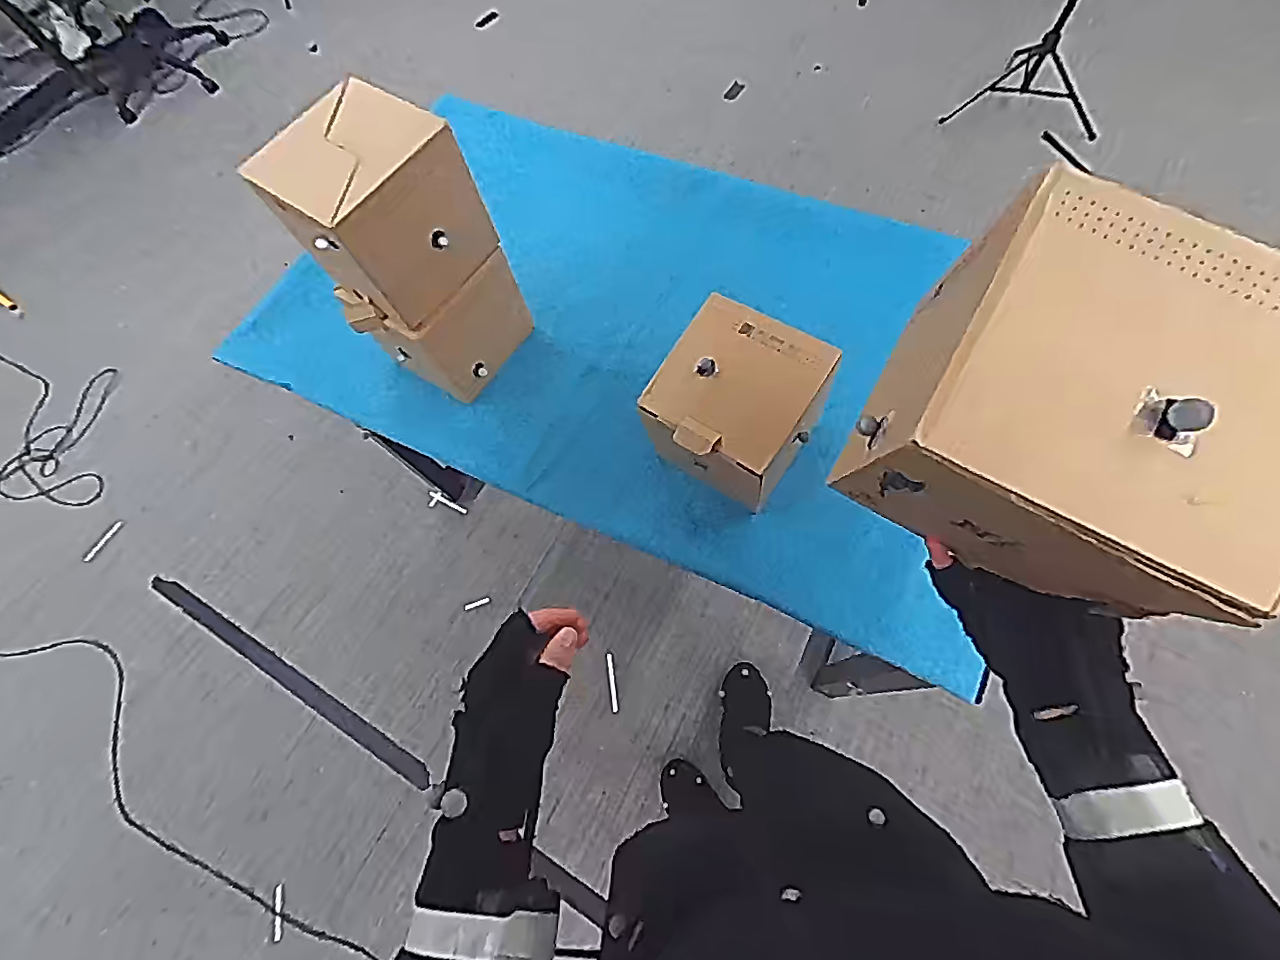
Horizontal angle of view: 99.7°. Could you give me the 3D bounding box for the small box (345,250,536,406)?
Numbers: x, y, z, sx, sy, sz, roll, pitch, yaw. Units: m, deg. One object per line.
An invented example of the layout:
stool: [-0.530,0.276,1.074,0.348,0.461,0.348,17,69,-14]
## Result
small box: [-0.288,-0.248,0.802,0.168,0.176,0.179,29,74,16]

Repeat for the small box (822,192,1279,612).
small box: [0.251,-0.041,0.343,0.179,0.168,0.176,28,85,7]

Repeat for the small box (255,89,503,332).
small box: [-0.306,-0.322,0.656,0.168,0.176,0.179,33,76,17]

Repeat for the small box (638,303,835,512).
small box: [0.122,-0.087,0.676,0.168,0.179,0.176,32,82,17]
